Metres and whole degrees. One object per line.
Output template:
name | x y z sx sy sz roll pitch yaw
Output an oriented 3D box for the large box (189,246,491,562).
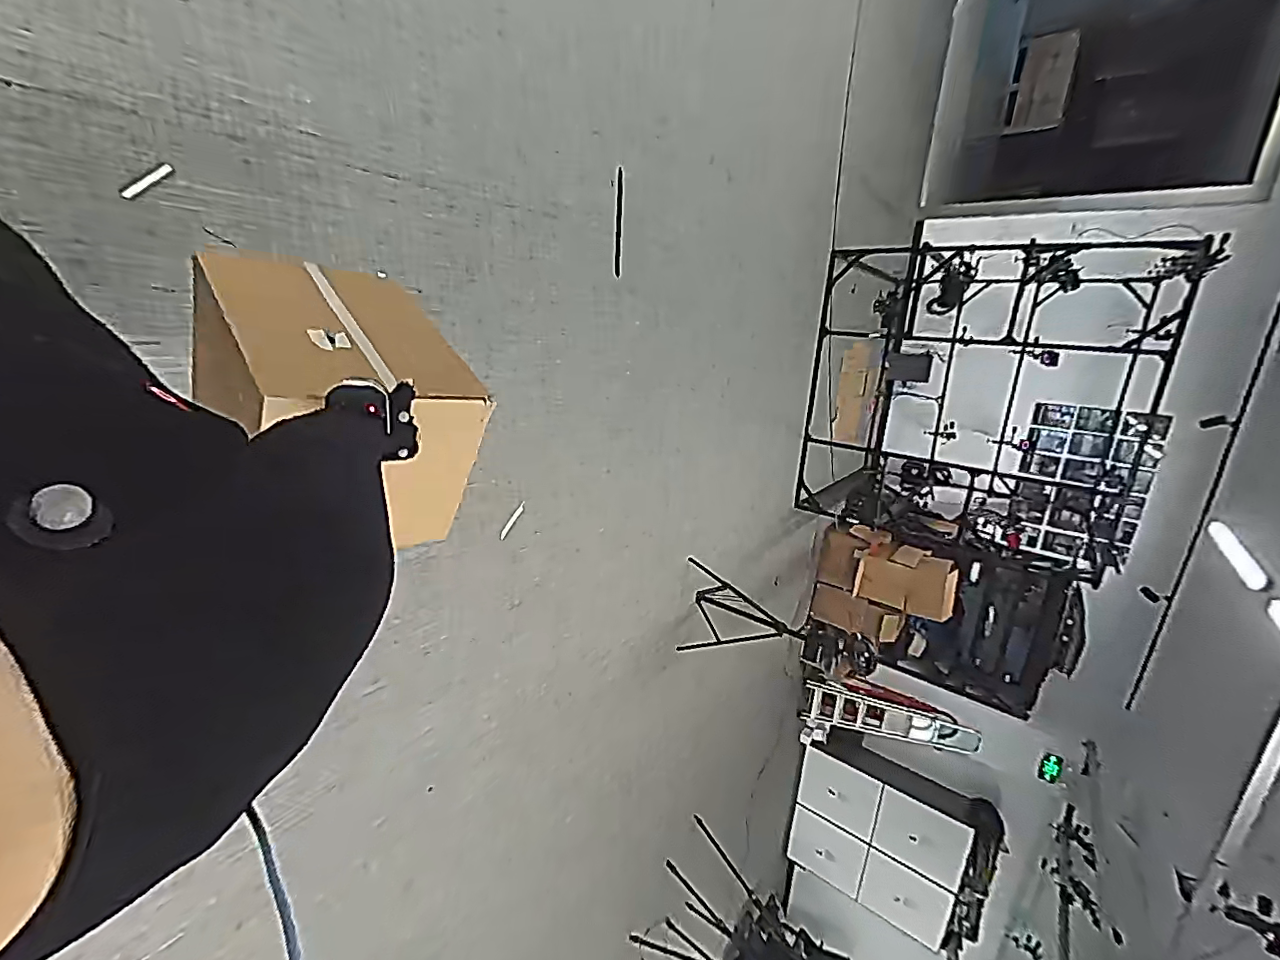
large box | -0.526 -0.130 0.921 0.320 0.408 0.320 -9 139 -47
